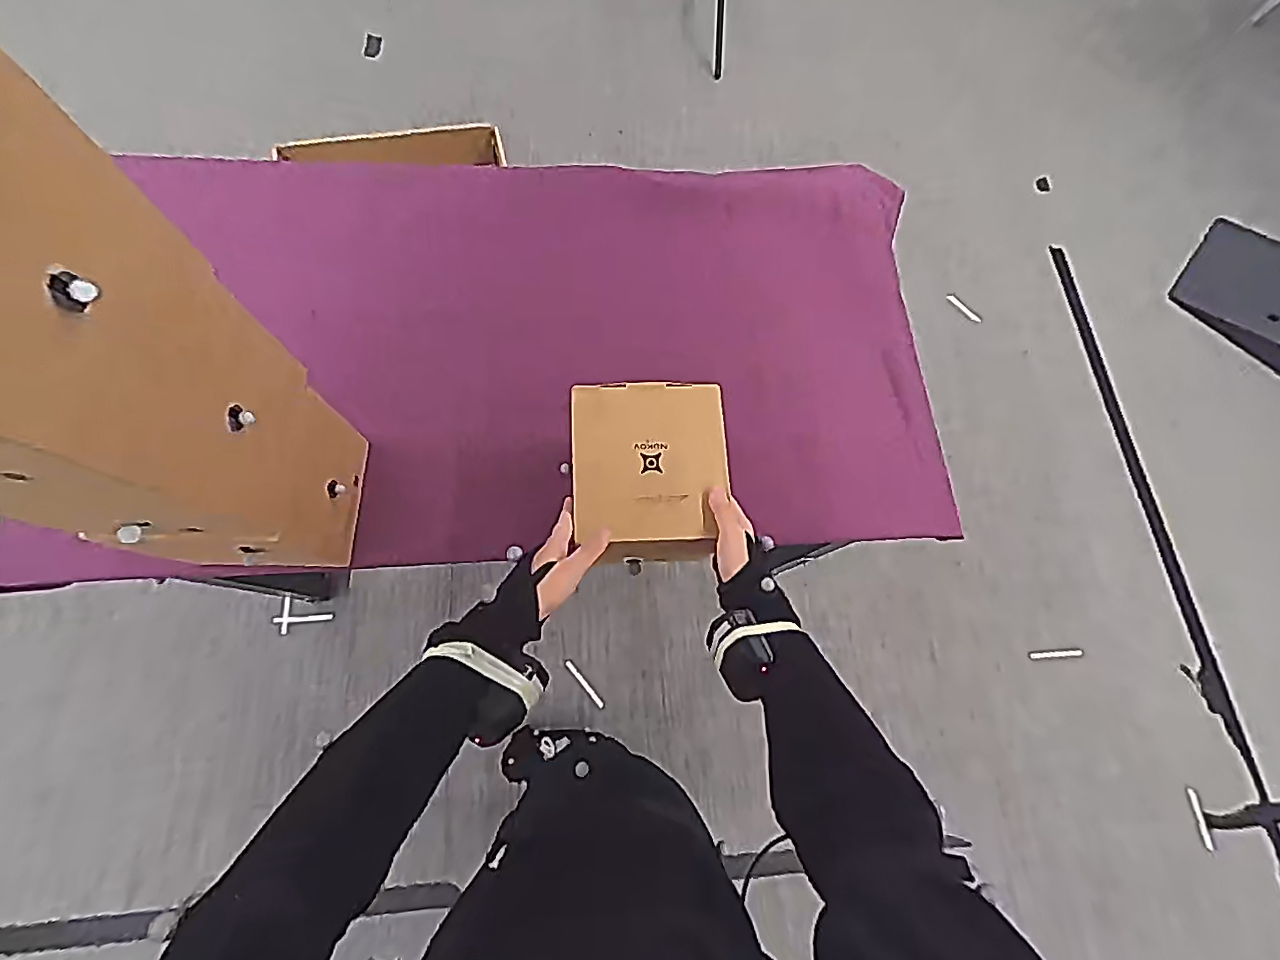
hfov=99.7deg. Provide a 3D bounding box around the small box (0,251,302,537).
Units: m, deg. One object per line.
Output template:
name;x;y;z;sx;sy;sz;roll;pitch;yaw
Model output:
small box;-0.410;-0.057;0.444;0.168;0.176;0.179;1;74;-6

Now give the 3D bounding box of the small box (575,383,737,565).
small box;0.007;0.000;0.641;0.168;0.176;0.179;-2;74;-5

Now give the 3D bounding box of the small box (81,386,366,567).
small box;-0.428;0.001;0.597;0.179;0.176;0.168;2;72;-5
